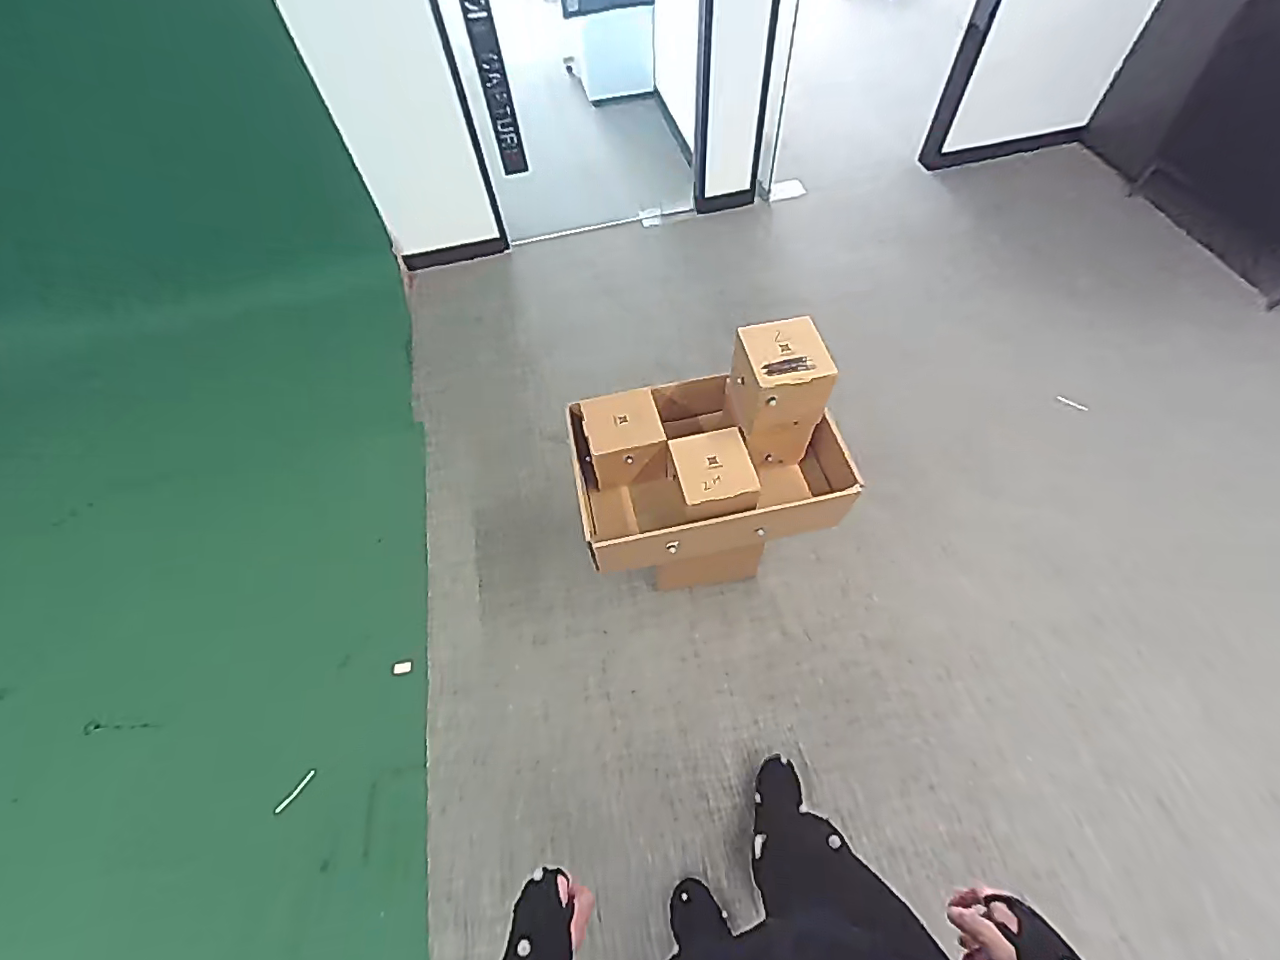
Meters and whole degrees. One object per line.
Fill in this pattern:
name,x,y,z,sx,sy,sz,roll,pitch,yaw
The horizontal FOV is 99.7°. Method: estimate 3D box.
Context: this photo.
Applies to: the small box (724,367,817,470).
small box,0.311,-0.148,1.336,0.168,0.176,0.179,-10,59,-3
